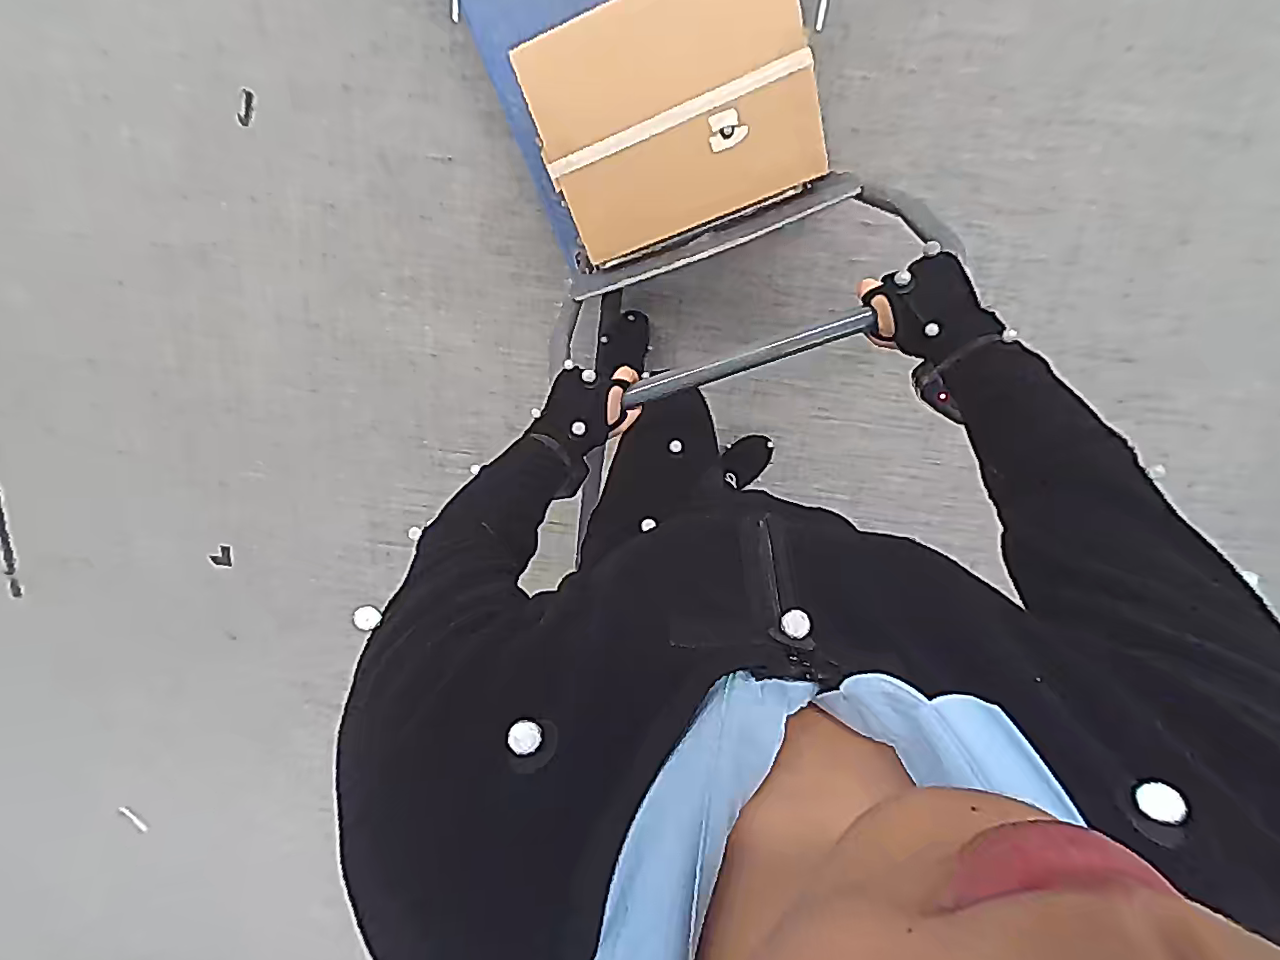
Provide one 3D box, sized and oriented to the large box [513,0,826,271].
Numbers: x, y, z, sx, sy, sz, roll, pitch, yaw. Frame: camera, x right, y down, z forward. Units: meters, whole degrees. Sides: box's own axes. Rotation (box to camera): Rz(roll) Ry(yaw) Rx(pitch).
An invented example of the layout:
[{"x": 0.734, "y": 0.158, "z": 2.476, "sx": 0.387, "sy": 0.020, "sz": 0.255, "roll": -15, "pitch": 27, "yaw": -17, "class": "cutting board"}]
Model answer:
[{"x": 0.053, "y": -0.612, "z": 0.938, "sx": 0.408, "sy": 0.320, "sz": 0.320, "roll": -18, "pitch": 120, "yaw": 11, "class": "large box"}]
